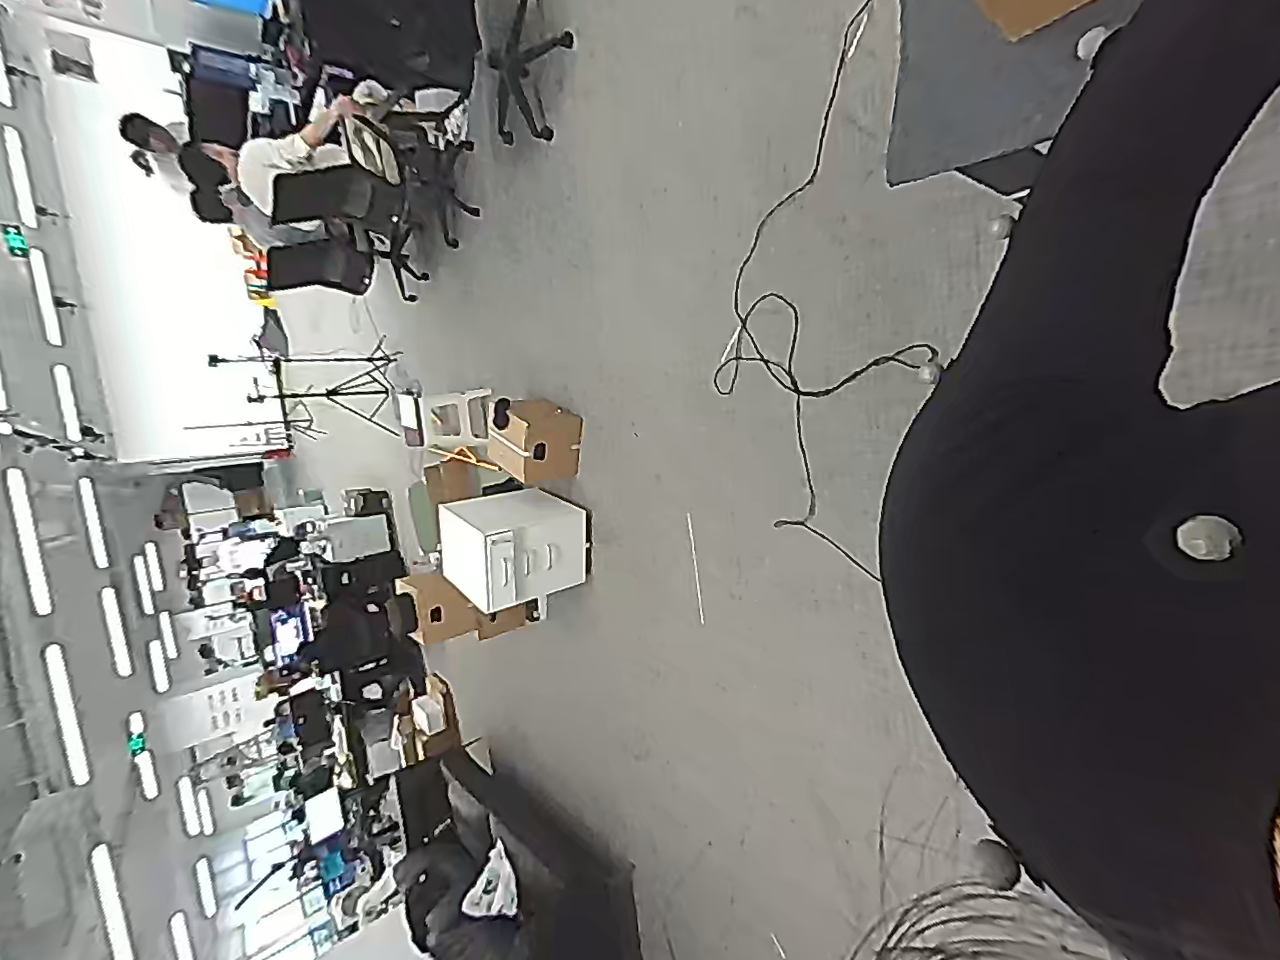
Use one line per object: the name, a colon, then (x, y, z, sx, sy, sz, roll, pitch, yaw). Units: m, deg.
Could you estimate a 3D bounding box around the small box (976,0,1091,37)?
small box: (0.414, -0.573, 0.499, 0.179, 0.176, 0.168, -2, 95, 52)
